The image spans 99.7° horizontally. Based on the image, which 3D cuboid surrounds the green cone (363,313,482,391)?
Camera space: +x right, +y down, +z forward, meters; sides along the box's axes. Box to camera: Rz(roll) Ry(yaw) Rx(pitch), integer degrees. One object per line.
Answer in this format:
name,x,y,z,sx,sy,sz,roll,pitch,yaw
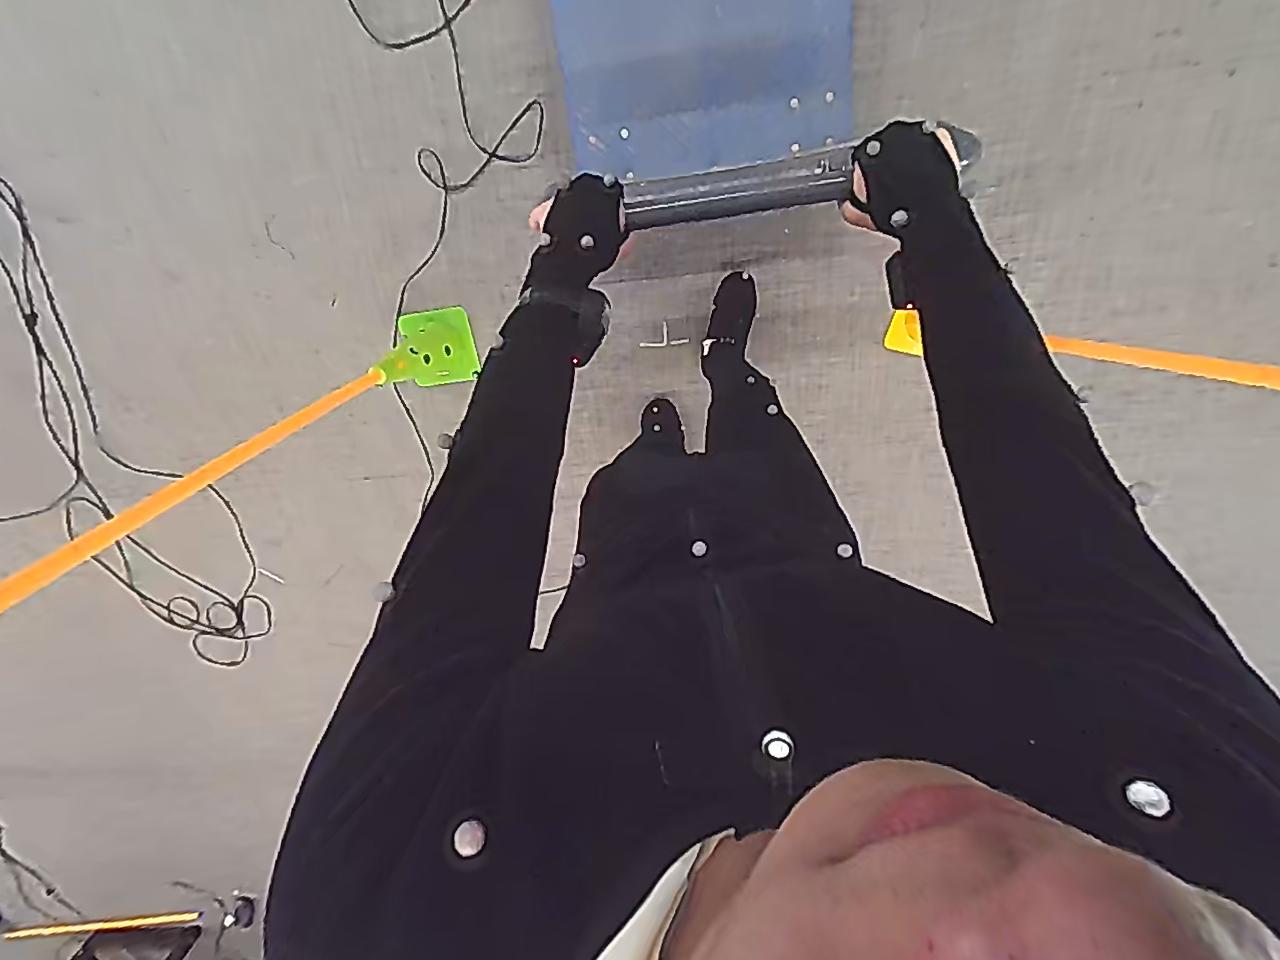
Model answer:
green cone,-0.574,-0.291,1.359,0.202,0.368,0.200,-7,112,9
